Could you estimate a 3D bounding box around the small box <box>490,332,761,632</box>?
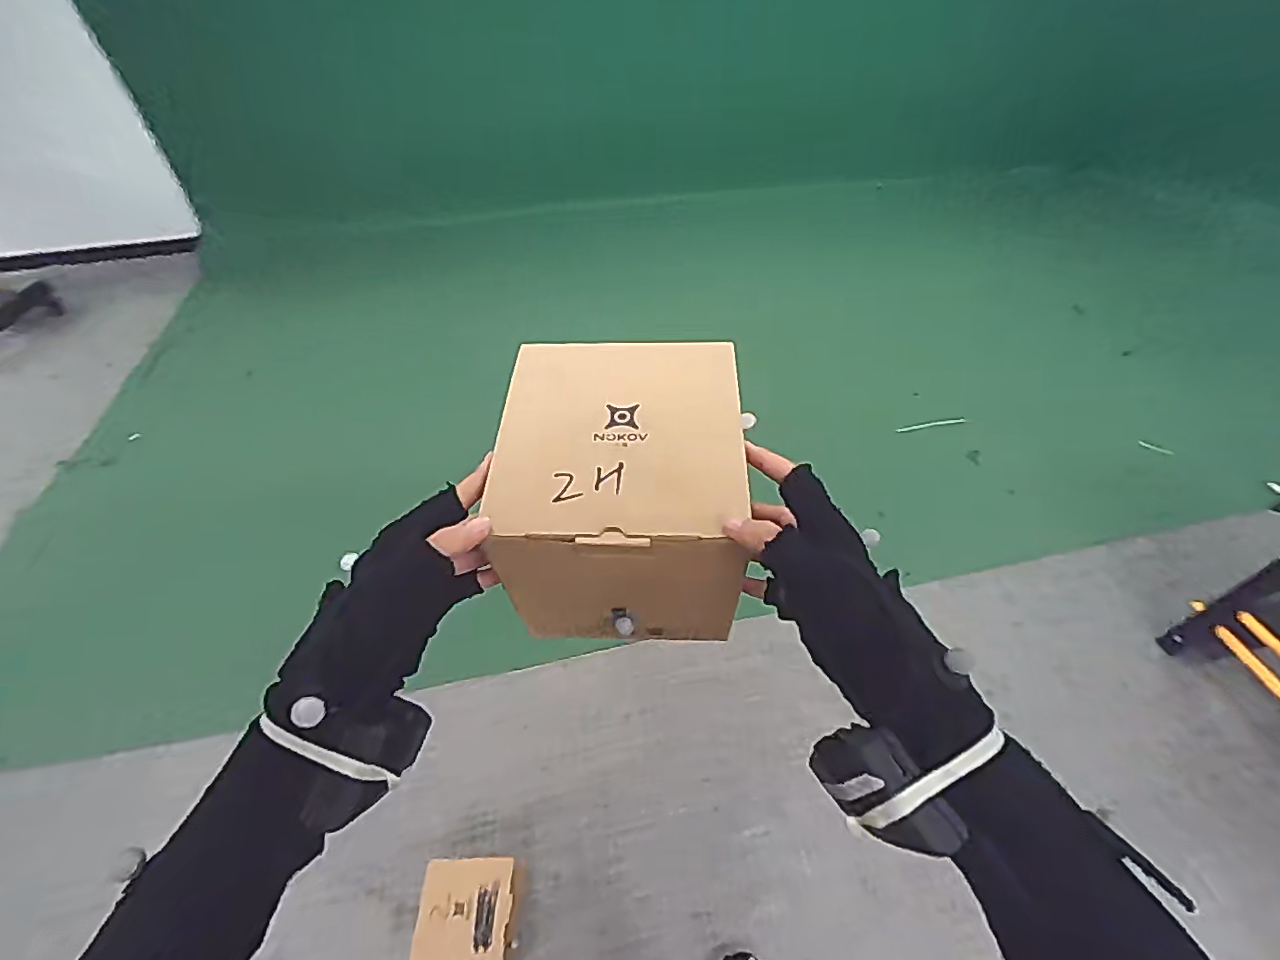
[{"bbox_3d":[-0.002,0.004,0.433,0.168,0.176,0.179,1,53,4],"label":"small box"}]
